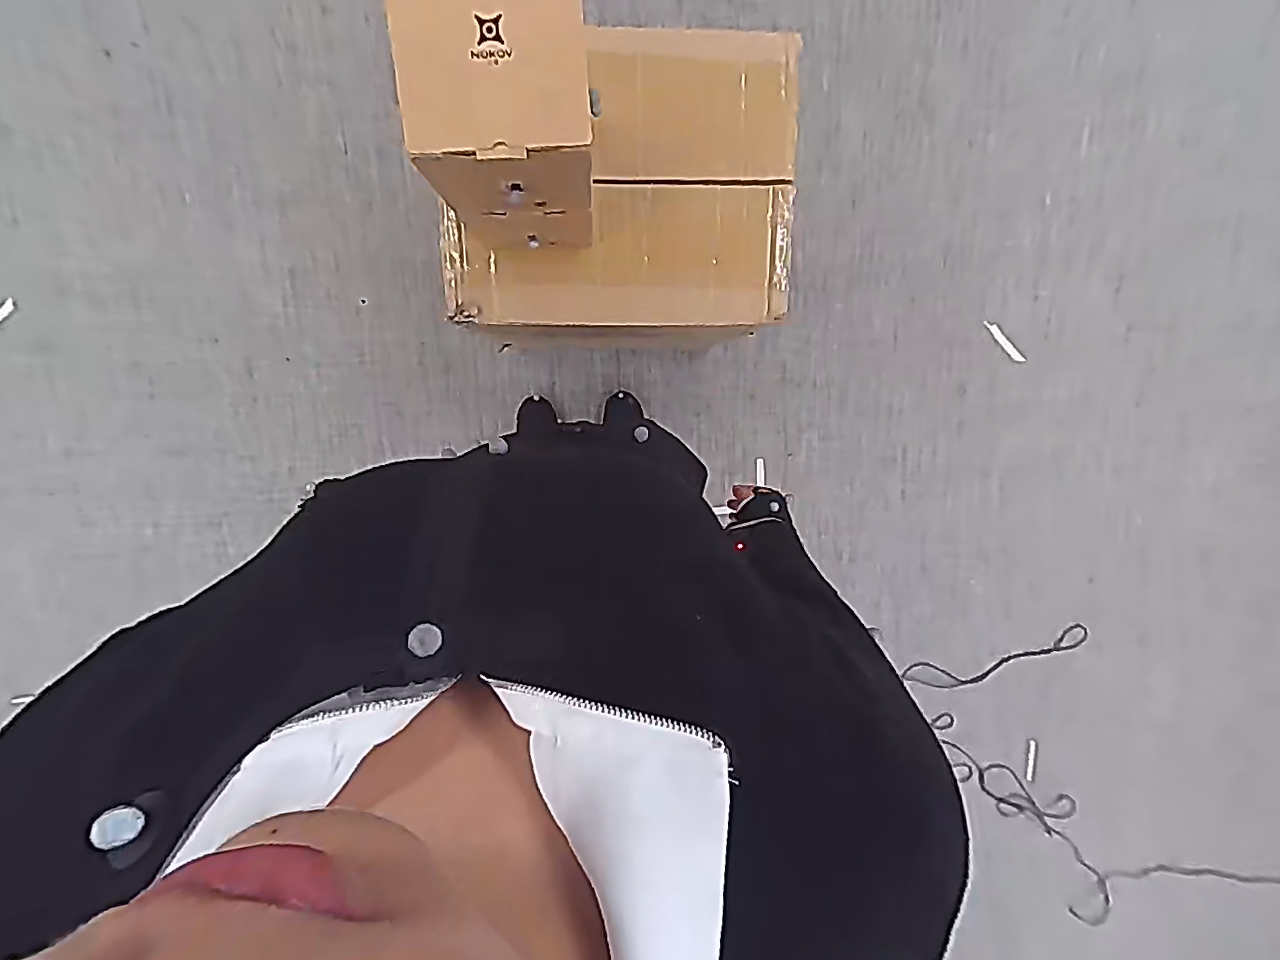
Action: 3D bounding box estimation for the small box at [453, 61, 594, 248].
[{"bbox_3d":[-0.148,-0.417,0.707,0.168,0.176,0.179,-3,101,-4],"label":"small box"}]

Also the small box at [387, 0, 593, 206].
[{"bbox_3d":[-0.136,-0.390,0.545,0.168,0.176,0.179,-5,101,-4],"label":"small box"}]
